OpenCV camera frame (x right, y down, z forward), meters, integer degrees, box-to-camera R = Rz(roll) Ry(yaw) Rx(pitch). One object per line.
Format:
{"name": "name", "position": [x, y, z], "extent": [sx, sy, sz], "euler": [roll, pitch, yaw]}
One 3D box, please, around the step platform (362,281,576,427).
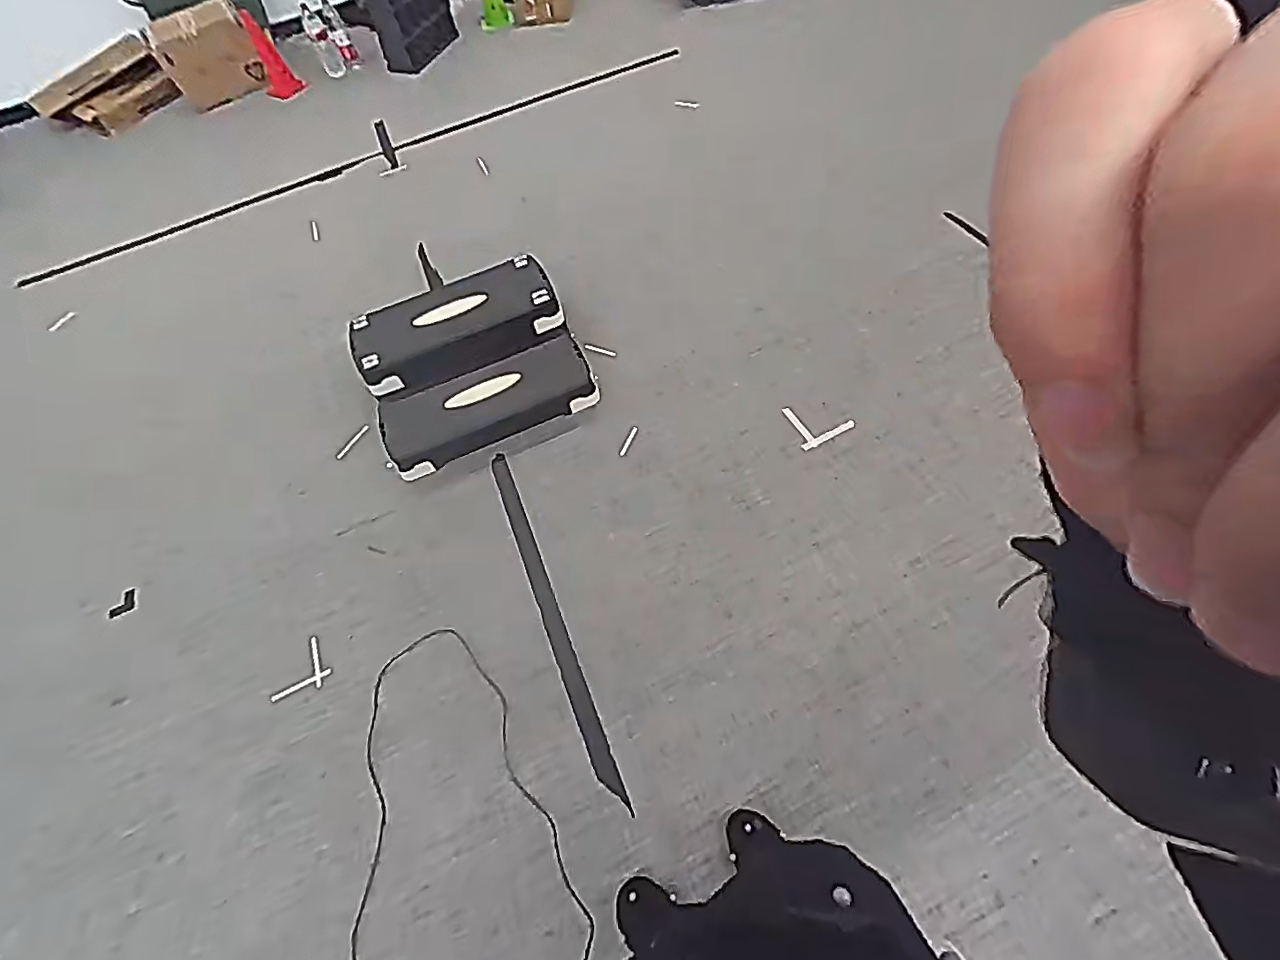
{"name": "step platform", "position": [-0.579, -0.437, 1.843], "extent": [0.684, 0.204, 0.286], "euler": [-20, 58, -6]}
